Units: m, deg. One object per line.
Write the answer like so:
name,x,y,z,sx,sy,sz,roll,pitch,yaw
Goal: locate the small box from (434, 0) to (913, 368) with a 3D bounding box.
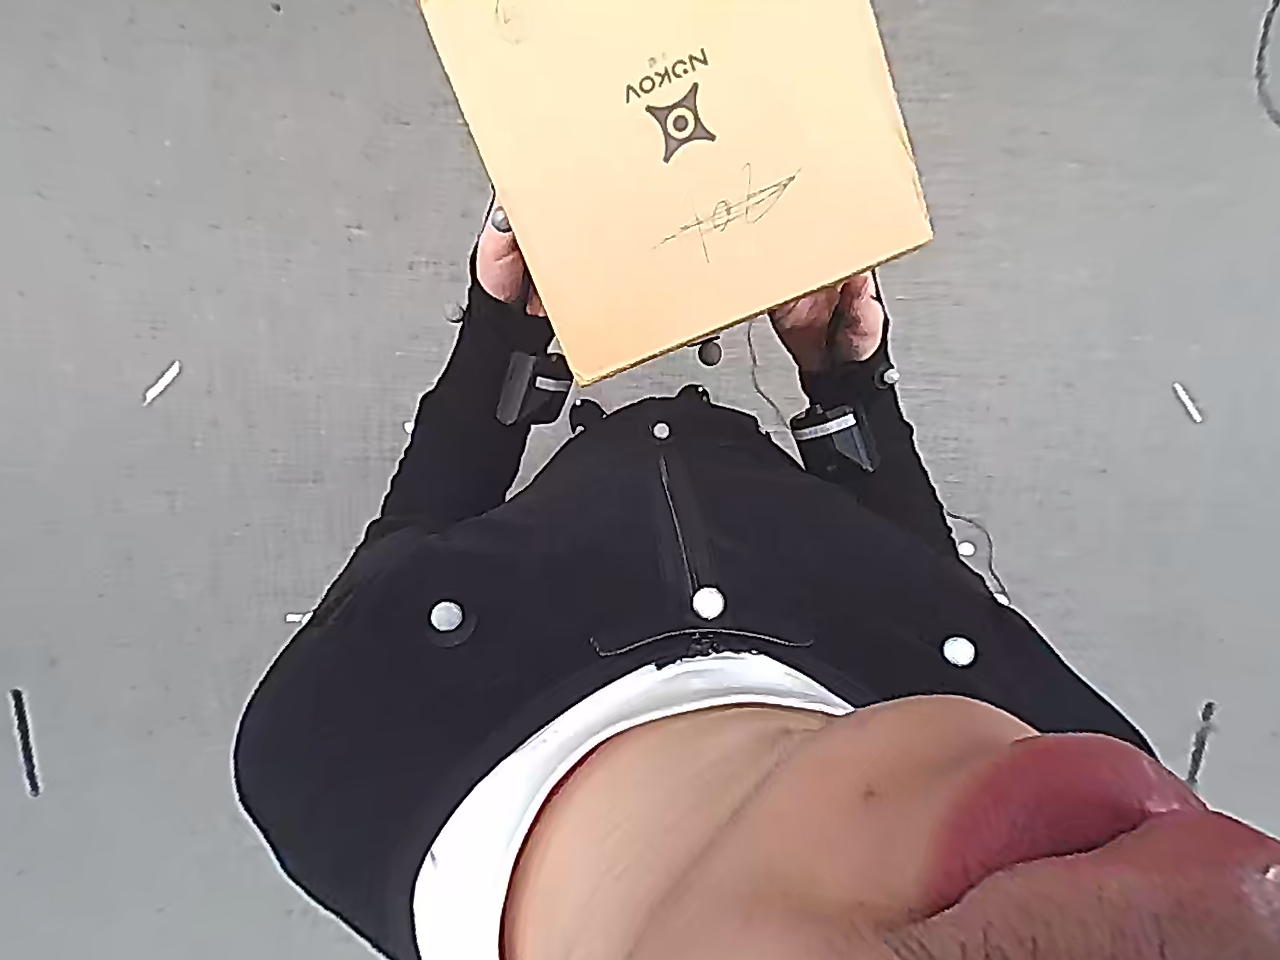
small box,0.020,-0.175,0.313,0.168,0.176,0.179,-21,101,8
